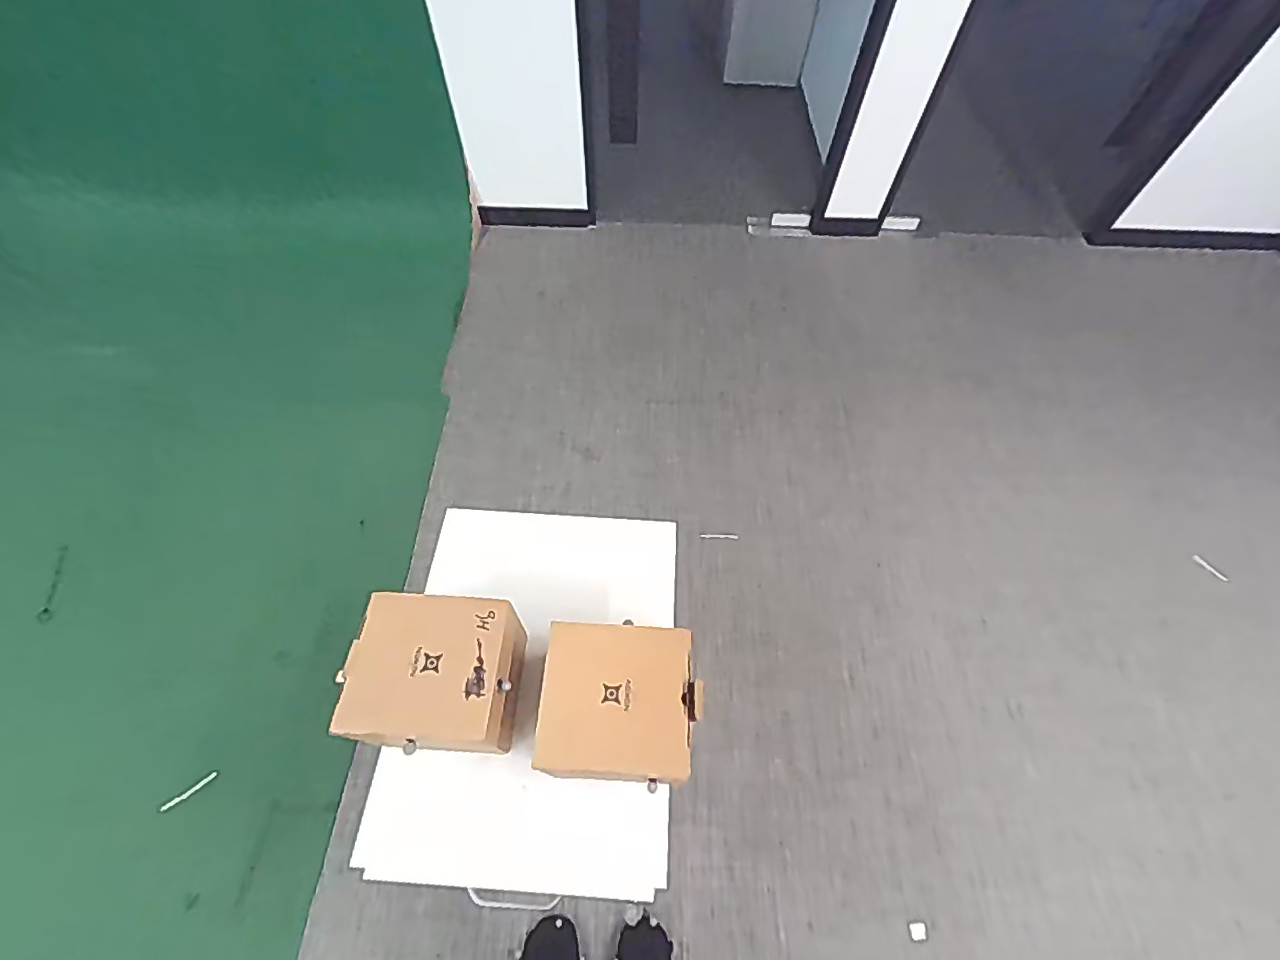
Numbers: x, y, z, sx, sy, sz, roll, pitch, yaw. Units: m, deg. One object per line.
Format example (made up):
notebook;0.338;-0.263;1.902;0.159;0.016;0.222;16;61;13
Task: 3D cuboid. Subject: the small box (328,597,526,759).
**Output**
small box;-0.259;0.264;0.707;0.179;0.176;0.168;4;59;0
